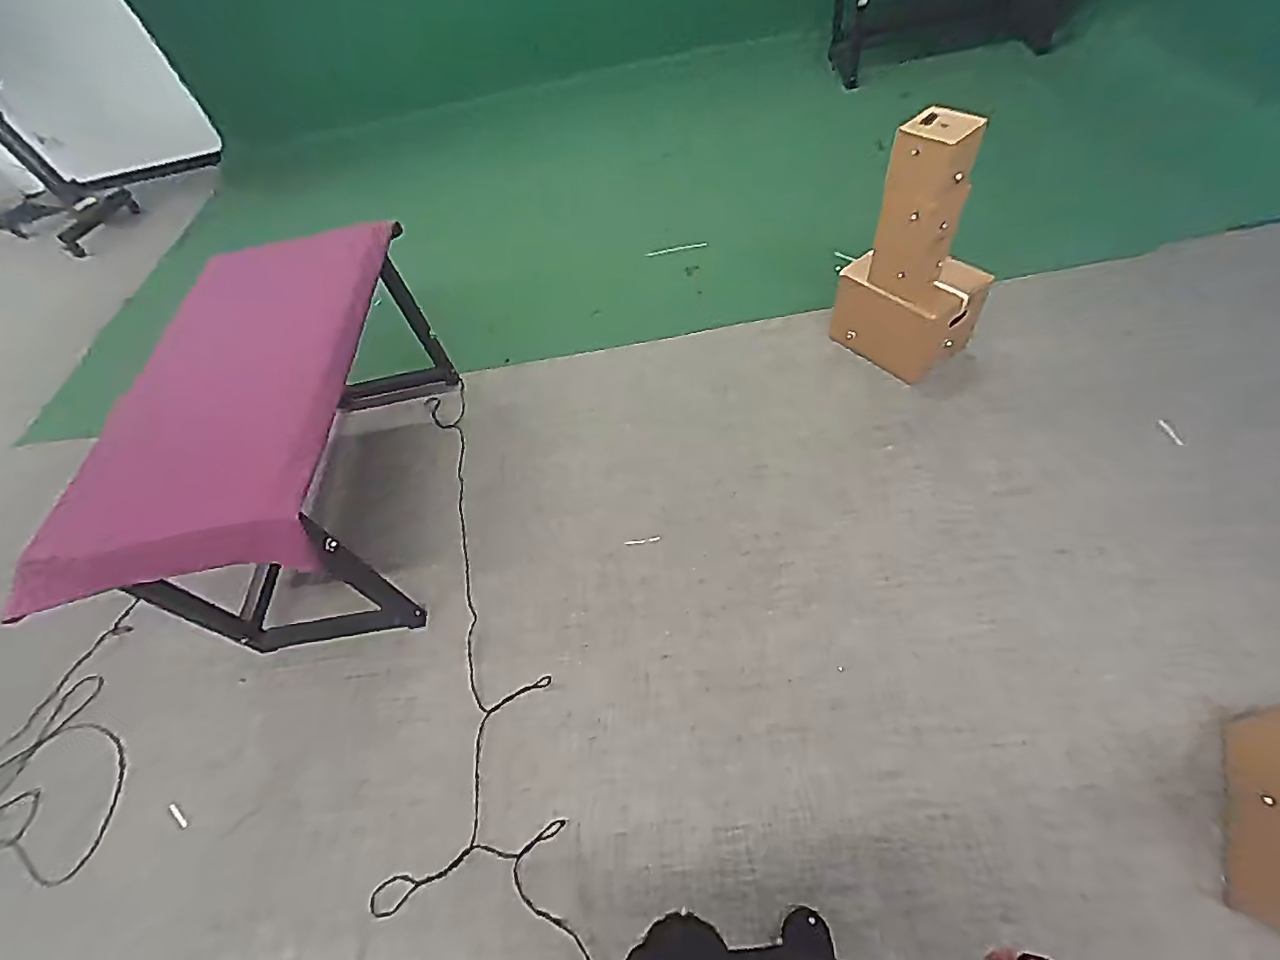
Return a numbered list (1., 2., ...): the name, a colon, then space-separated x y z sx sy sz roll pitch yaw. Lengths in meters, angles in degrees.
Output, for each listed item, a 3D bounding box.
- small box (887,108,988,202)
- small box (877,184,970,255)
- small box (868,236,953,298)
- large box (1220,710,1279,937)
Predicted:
1. small box: 0.857 -0.945 1.578 0.168 0.176 0.179 -38 58 -16
2. small box: 0.884 -0.837 1.700 0.168 0.176 0.179 -32 56 -13
3. small box: 0.909 -0.744 1.833 0.168 0.176 0.179 -35 56 -14
4. large box: 1.414 0.703 1.031 0.320 0.320 0.408 19 60 21
